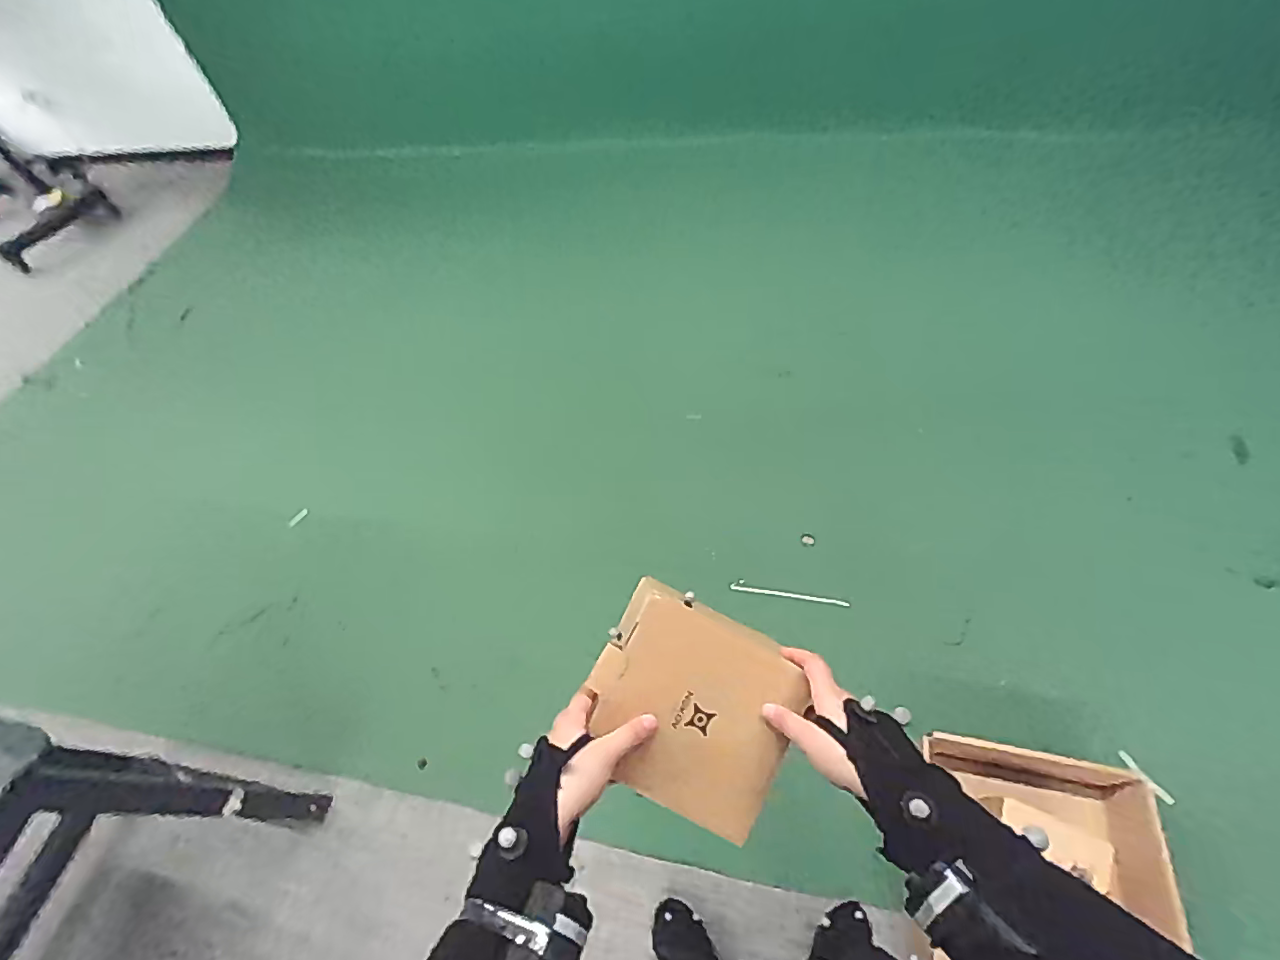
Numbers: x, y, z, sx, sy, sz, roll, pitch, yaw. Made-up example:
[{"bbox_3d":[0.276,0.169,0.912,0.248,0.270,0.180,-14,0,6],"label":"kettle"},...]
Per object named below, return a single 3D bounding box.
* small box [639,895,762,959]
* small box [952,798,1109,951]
[{"bbox_3d":[0.107,0.924,1.008,0.176,0.168,0.179,34,38,-4],"label":"small box"},{"bbox_3d":[0.726,0.727,1.018,0.179,0.176,0.168,21,63,19],"label":"small box"}]
